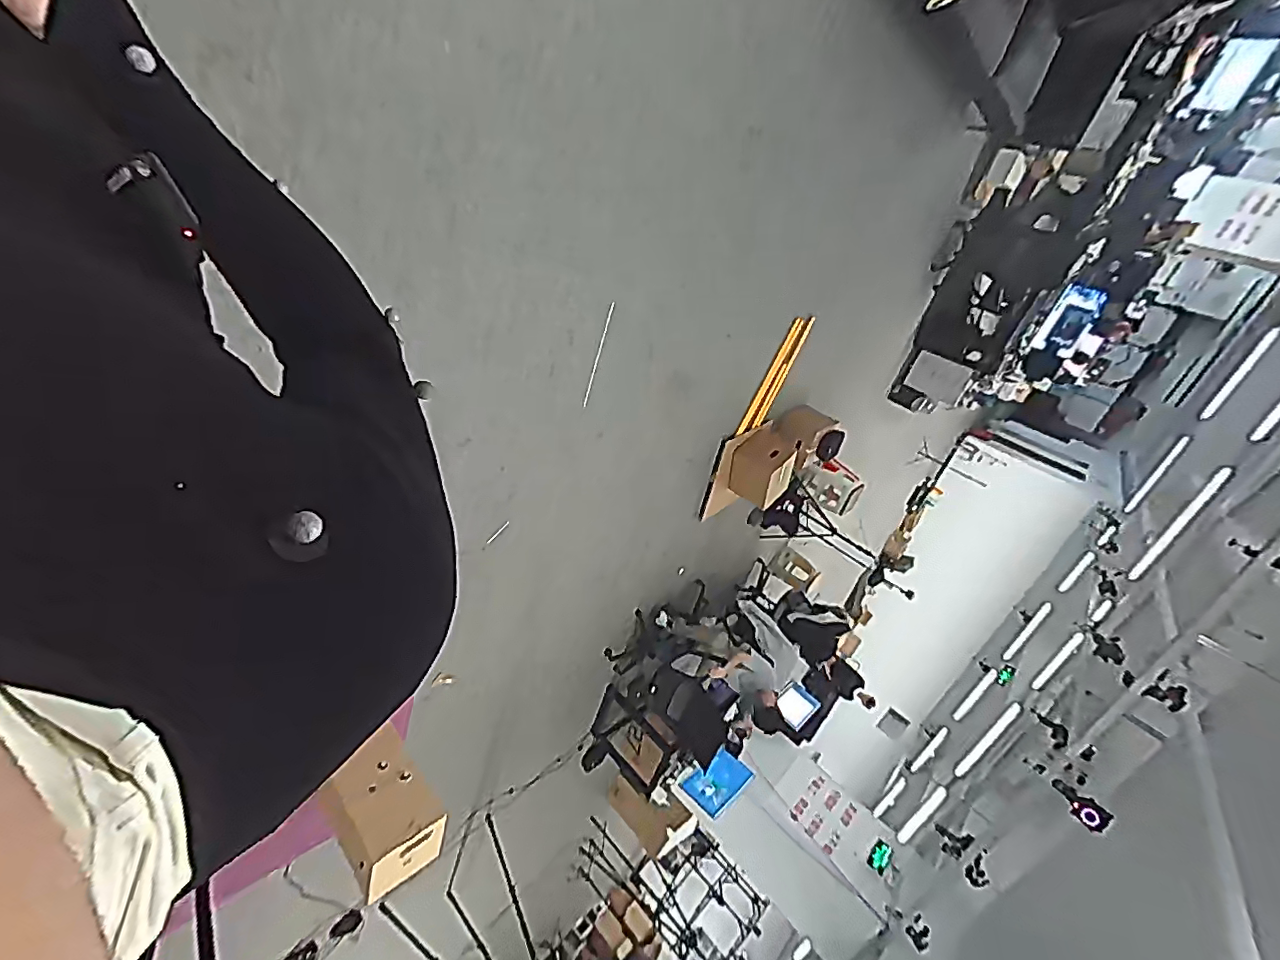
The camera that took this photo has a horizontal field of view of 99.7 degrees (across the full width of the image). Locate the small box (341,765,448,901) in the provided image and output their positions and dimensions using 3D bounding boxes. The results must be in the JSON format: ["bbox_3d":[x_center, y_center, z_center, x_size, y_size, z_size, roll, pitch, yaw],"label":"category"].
[{"bbox_3d":[-0.566,0.793,1.240,0.168,0.176,0.179,-13,131,-47],"label":"small box"}]

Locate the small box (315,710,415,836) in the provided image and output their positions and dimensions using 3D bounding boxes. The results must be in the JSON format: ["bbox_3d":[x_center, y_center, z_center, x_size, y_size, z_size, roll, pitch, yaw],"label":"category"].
[{"bbox_3d":[-0.679,0.710,1.327,0.168,0.176,0.179,-14,132,-47],"label":"small box"}]
